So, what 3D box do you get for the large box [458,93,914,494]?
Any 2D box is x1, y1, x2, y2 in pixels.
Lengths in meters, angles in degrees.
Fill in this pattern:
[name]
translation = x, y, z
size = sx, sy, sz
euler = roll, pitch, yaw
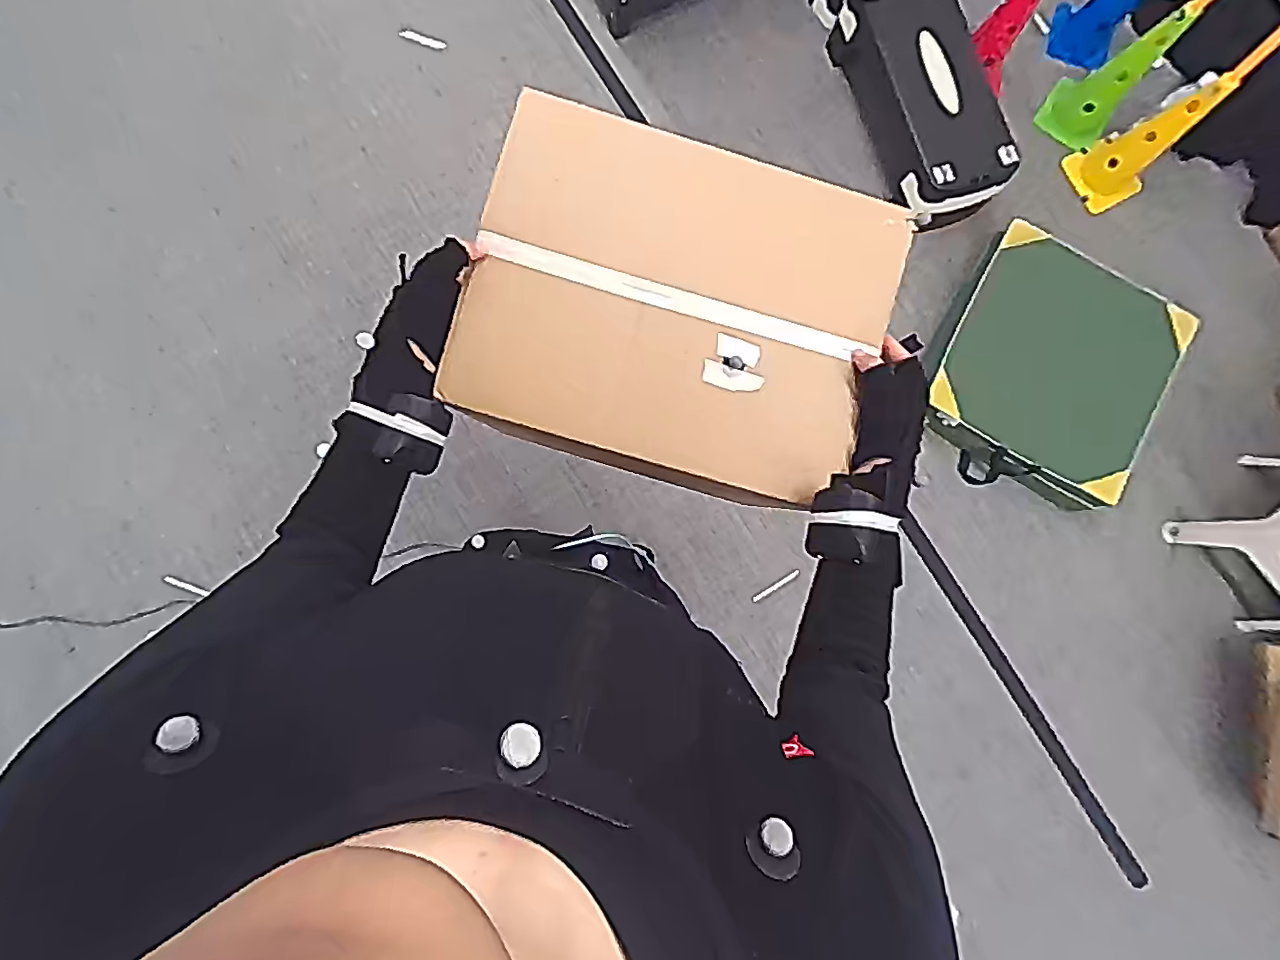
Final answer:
[large box]
translation = 0.040, -0.181, 0.683
size = 0.408, 0.320, 0.320
euler = 16, 89, -4
